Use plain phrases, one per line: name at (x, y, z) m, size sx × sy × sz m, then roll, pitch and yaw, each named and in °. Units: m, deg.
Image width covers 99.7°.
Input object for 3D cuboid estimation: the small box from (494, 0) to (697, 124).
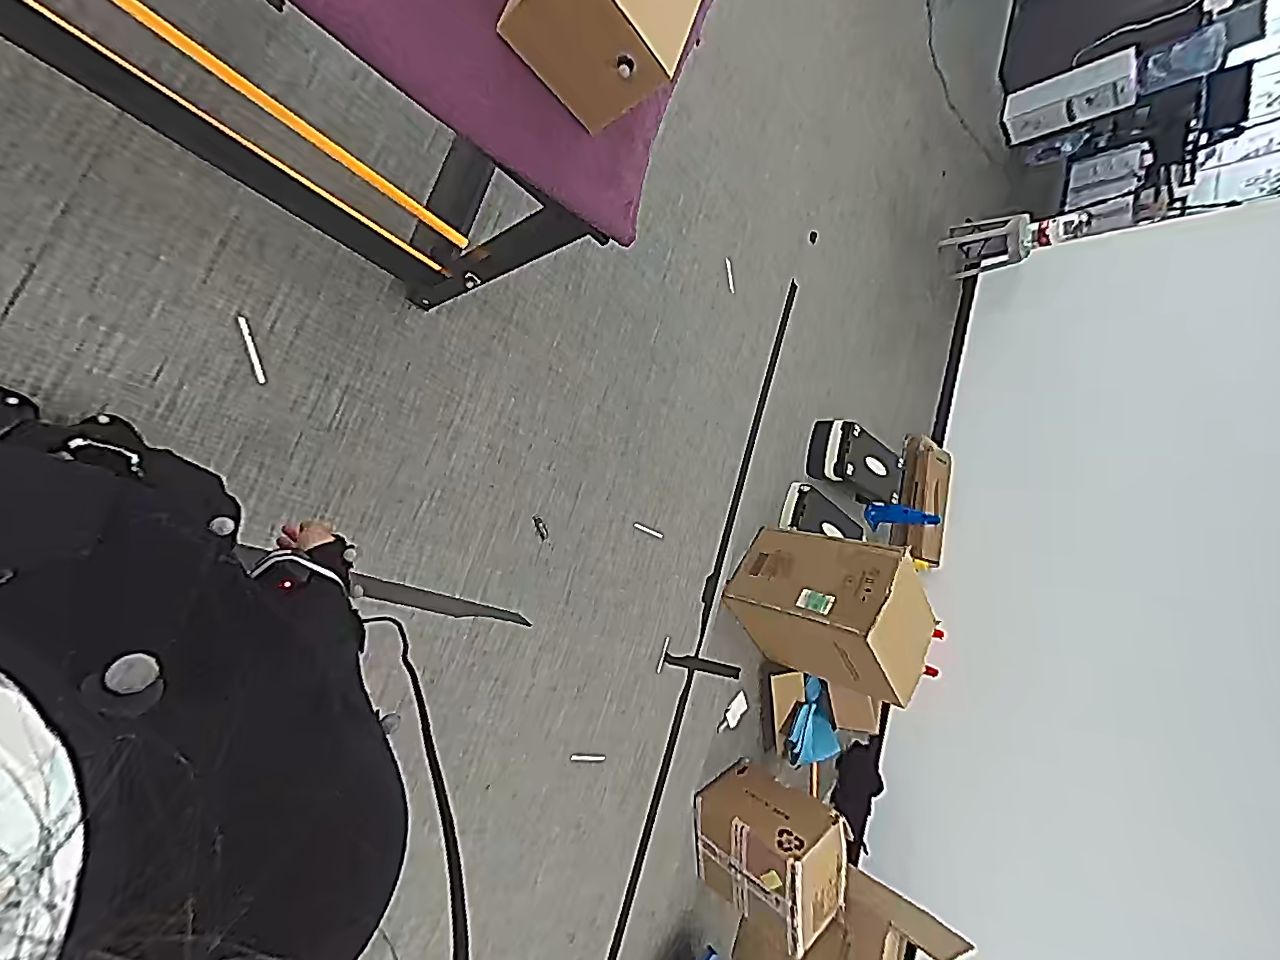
small box at (-0.058, -0.617, 0.717) m, size 0.179 × 0.176 × 0.168 m, roll 30°, pitch 71°, yaw -40°
